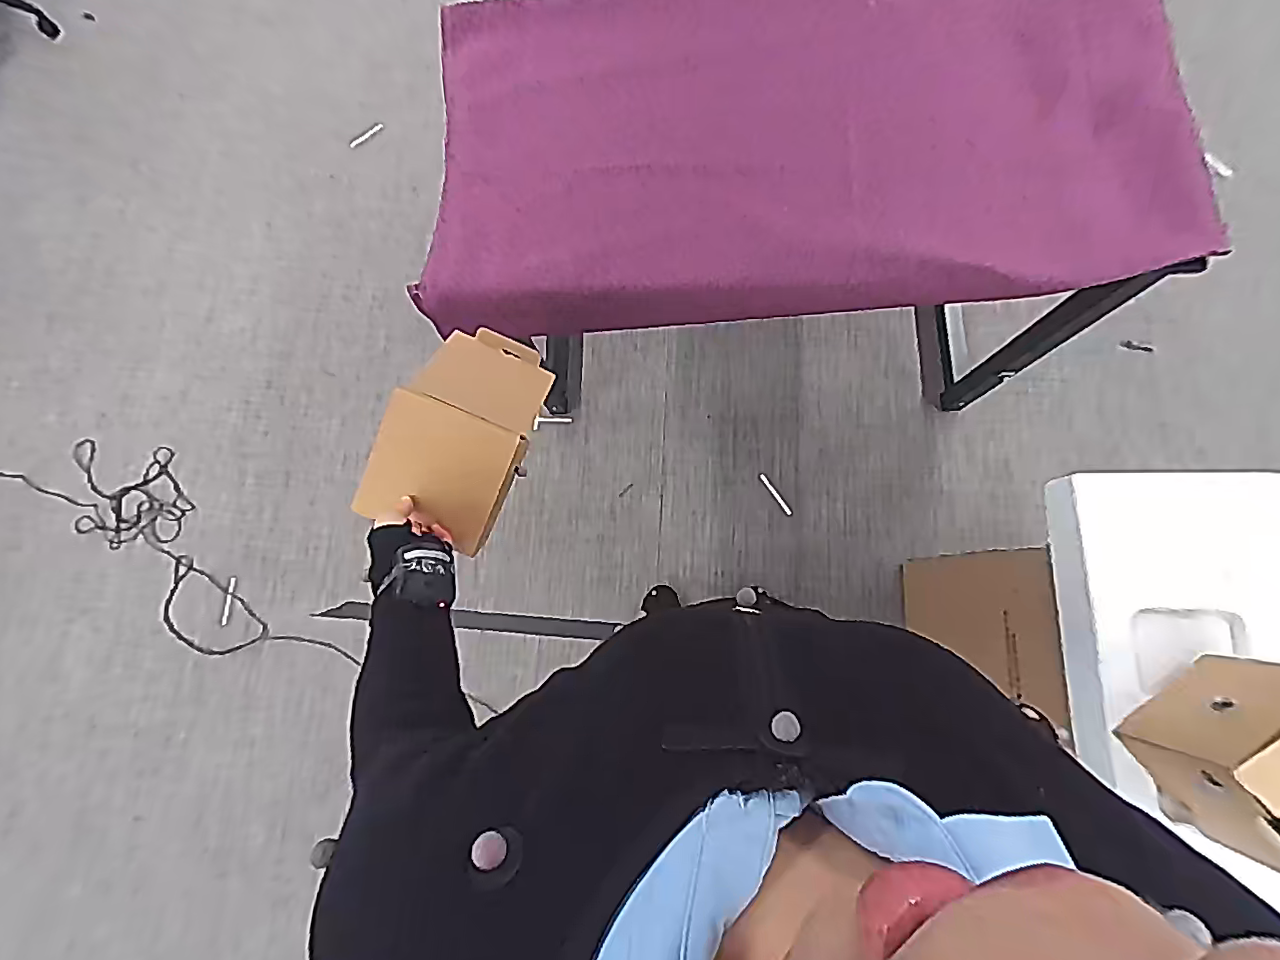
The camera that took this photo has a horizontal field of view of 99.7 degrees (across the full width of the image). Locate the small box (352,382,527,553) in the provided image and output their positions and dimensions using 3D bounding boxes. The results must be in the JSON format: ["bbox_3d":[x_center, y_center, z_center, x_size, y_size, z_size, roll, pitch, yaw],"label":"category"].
[{"bbox_3d":[-0.271,-0.018,0.773,0.168,0.176,0.179,23,88,-9],"label":"small box"}]
